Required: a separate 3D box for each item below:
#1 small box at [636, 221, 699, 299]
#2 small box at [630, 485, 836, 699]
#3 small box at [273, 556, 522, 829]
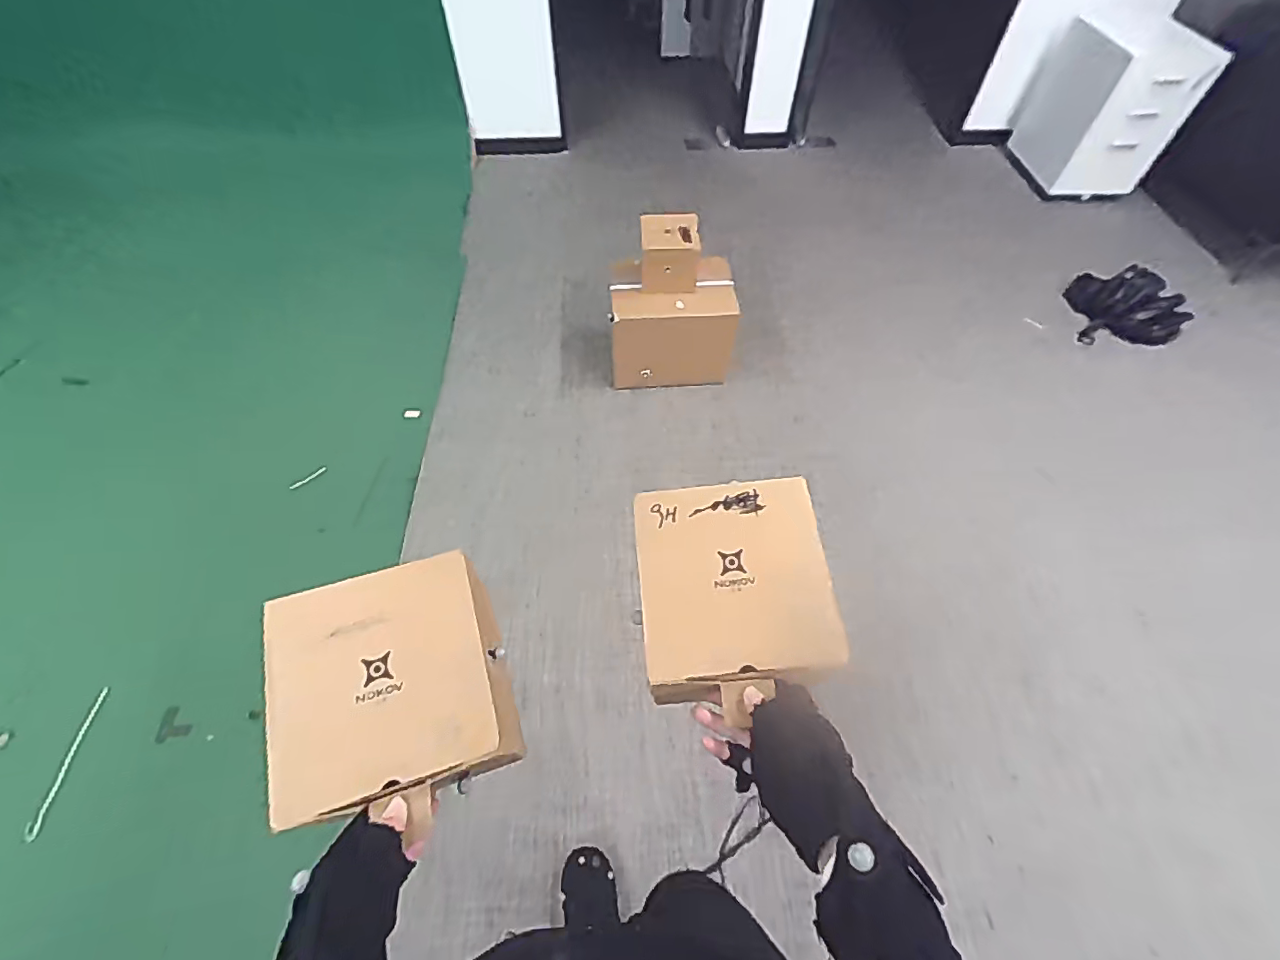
[{"bbox_3d":[0.081,-0.695,1.716,0.179,0.176,0.168,-4,61,-3],"label":"small box"},{"bbox_3d":[0.083,0.124,0.552,0.168,0.176,0.179,-5,63,2],"label":"small box"},{"bbox_3d":[-0.217,0.199,0.516,0.168,0.176,0.179,-15,63,-12],"label":"small box"}]
